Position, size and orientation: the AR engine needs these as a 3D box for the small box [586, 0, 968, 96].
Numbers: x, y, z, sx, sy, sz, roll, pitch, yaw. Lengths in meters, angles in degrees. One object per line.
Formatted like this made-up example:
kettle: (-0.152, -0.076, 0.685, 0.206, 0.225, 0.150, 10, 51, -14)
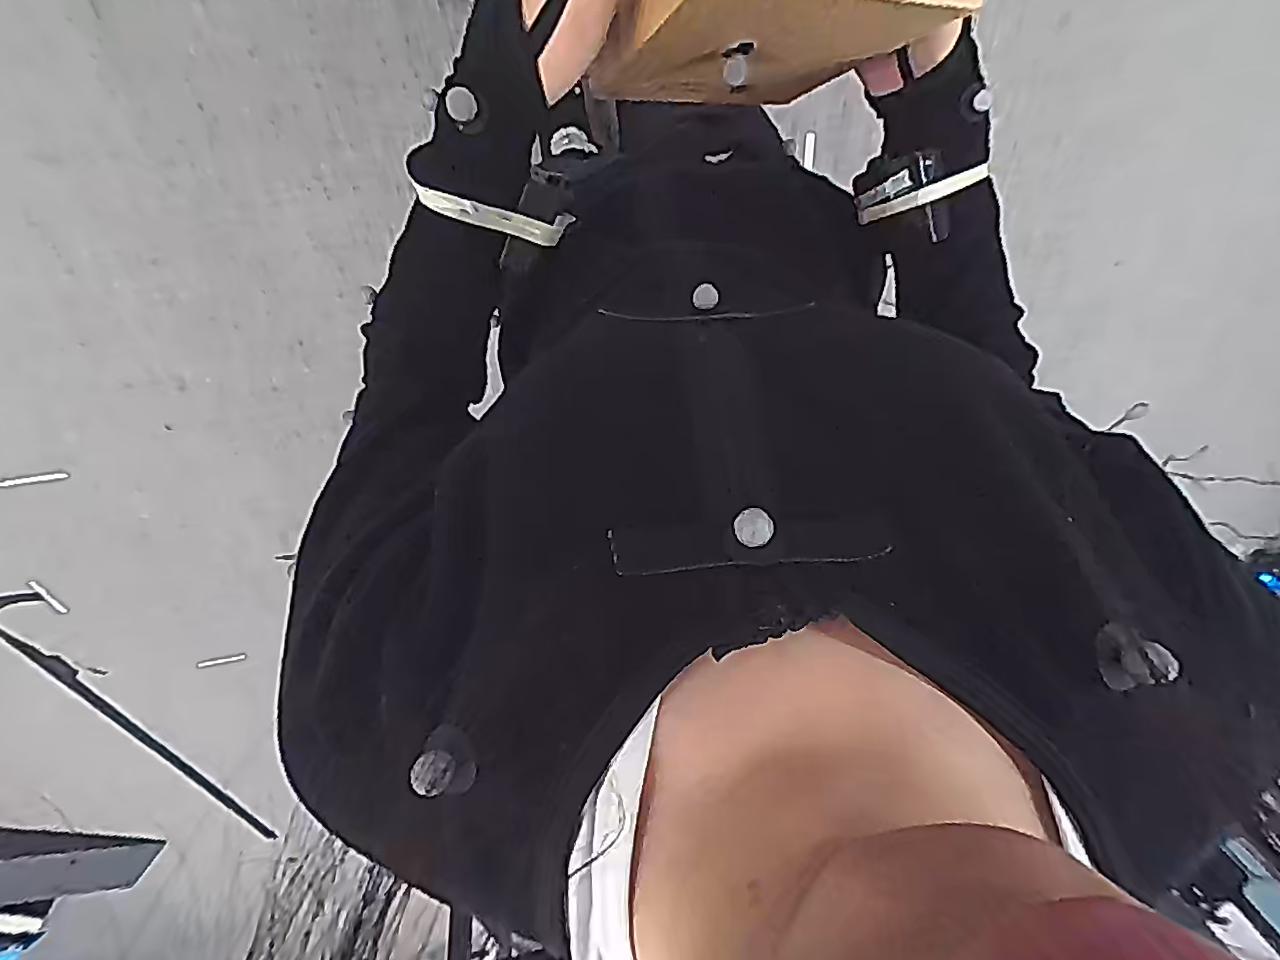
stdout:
small box: (0.065, -0.340, 0.300, 0.168, 0.176, 0.179, -13, 111, -19)
